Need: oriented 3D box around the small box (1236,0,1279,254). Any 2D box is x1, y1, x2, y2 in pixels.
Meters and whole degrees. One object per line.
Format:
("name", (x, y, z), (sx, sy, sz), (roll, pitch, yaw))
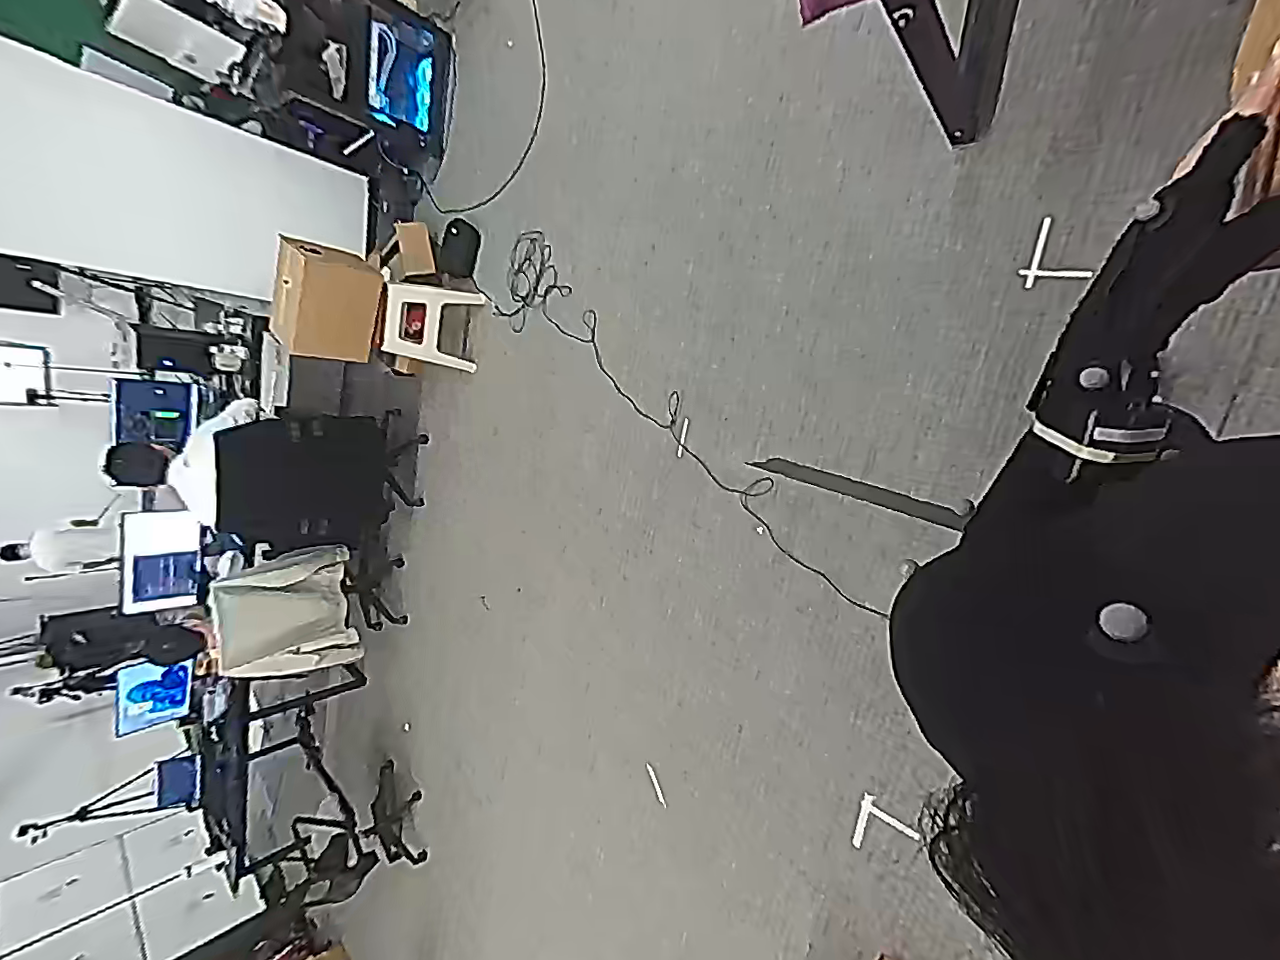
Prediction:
("small box", (0.461, -0.248, 0.283), (0.179, 0.176, 0.168), (1, 82, 39))
